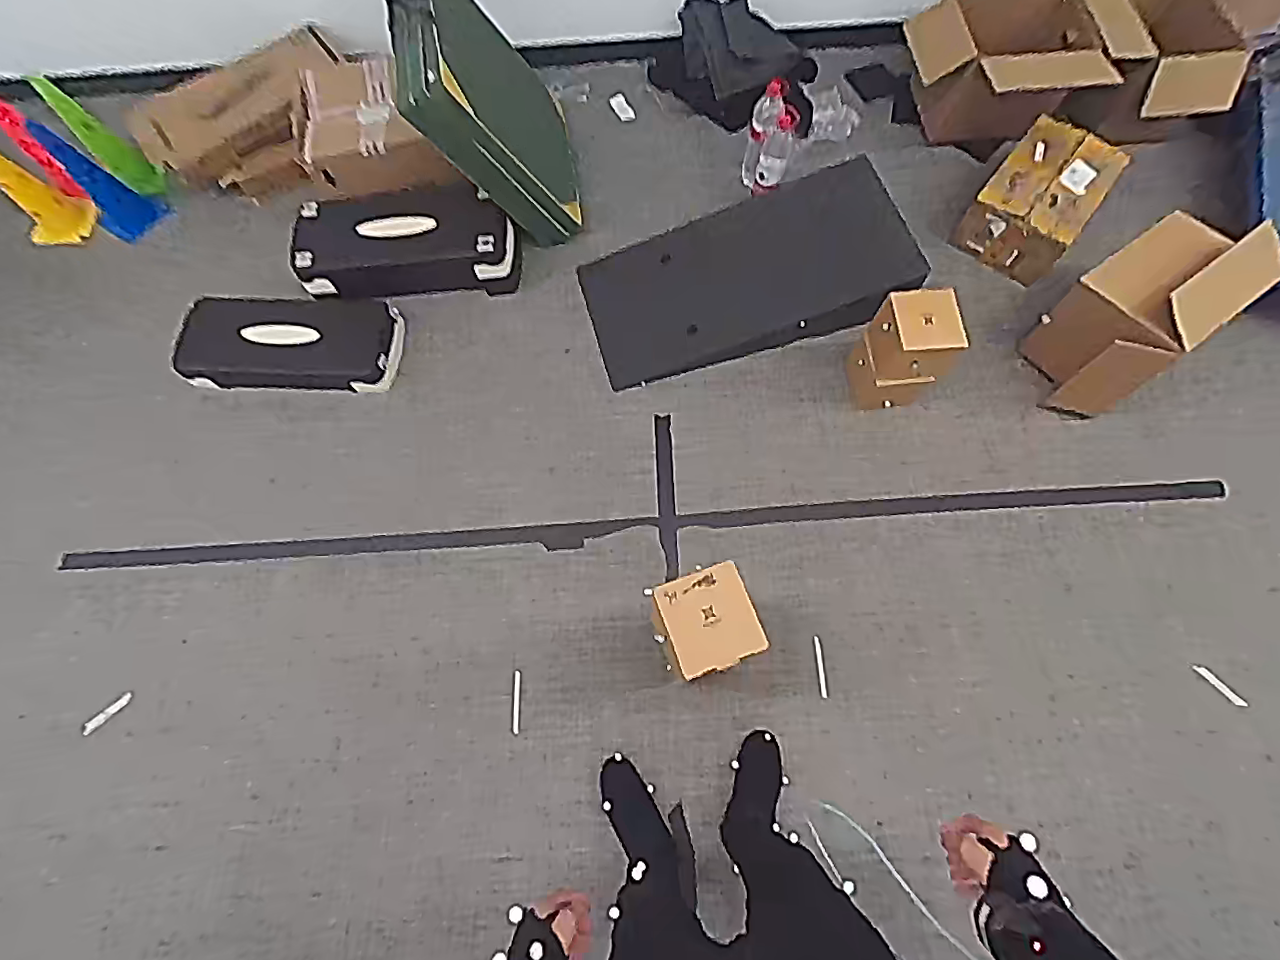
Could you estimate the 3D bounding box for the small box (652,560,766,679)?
[{"bbox_3d":[0.128,0.277,1.073,0.168,0.176,0.179,-19,73,-6],"label":"small box"}]
